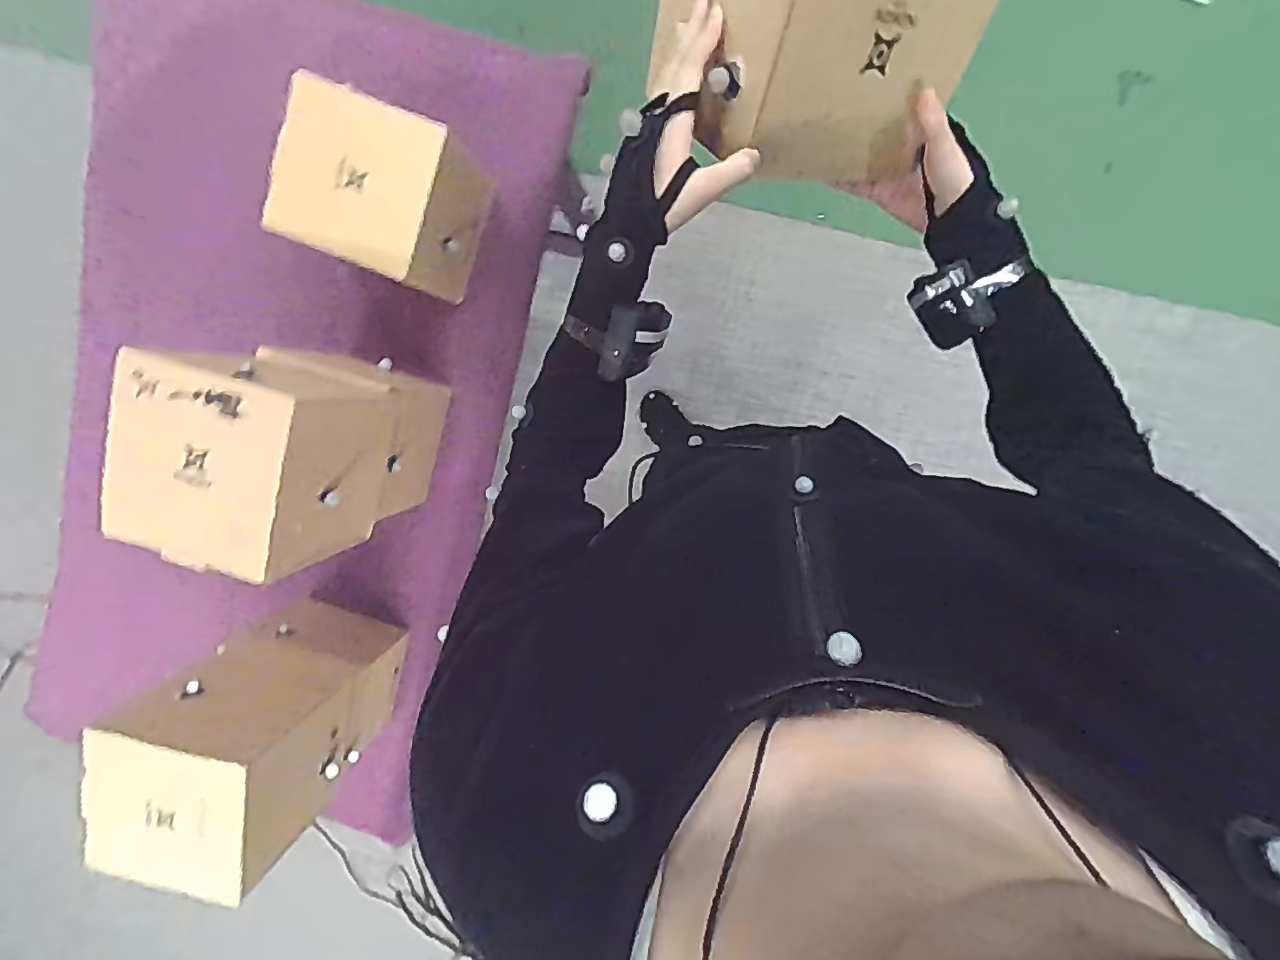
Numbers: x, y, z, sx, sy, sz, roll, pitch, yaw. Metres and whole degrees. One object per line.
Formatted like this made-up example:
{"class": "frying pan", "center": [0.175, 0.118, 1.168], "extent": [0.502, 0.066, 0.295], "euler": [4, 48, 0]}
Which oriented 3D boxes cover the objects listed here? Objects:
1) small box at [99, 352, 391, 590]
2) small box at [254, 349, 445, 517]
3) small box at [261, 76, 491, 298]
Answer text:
{"class": "small box", "center": [-0.381, -0.018, 0.548], "extent": [0.168, 0.176, 0.179], "euler": [16, 100, 2]}
{"class": "small box", "center": [-0.379, -0.056, 0.708], "extent": [0.168, 0.176, 0.179], "euler": [17, 99, 2]}
{"class": "small box", "center": [-0.305, -0.334, 0.659], "extent": [0.179, 0.176, 0.168], "euler": [21, 101, 1]}
